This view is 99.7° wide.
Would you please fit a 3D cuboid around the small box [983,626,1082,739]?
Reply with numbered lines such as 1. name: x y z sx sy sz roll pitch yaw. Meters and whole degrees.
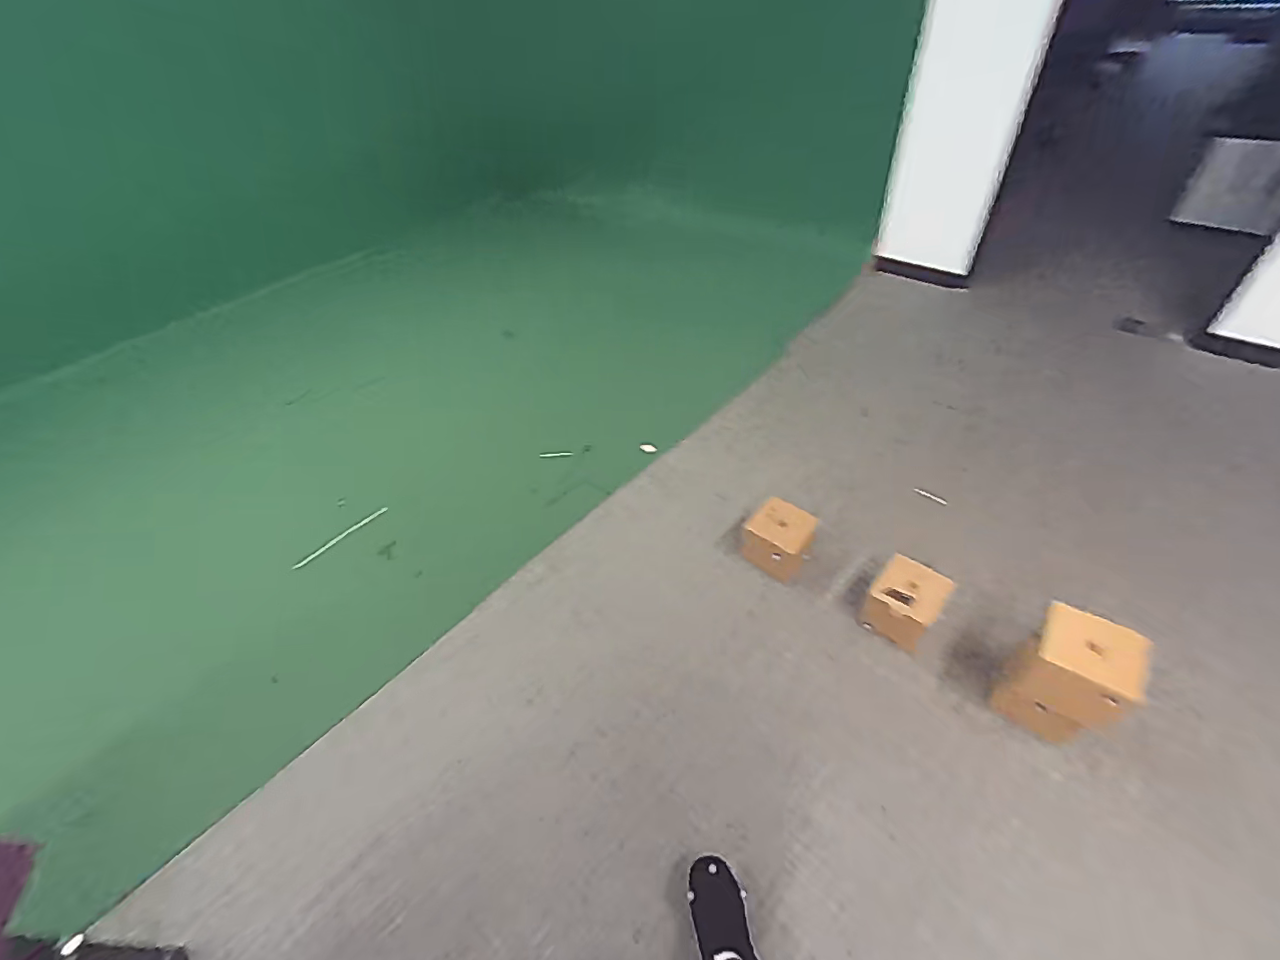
1. small box: 0.984 0.503 1.332 0.179 0.176 0.168 29 58 29

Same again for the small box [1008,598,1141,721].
1. small box: 0.959 0.403 1.205 0.179 0.176 0.168 24 55 26

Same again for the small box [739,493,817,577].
1. small box: 0.432 0.181 1.710 0.179 0.176 0.168 30 57 30

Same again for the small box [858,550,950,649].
1. small box: 0.733 0.338 1.520 0.168 0.176 0.179 31 57 31
